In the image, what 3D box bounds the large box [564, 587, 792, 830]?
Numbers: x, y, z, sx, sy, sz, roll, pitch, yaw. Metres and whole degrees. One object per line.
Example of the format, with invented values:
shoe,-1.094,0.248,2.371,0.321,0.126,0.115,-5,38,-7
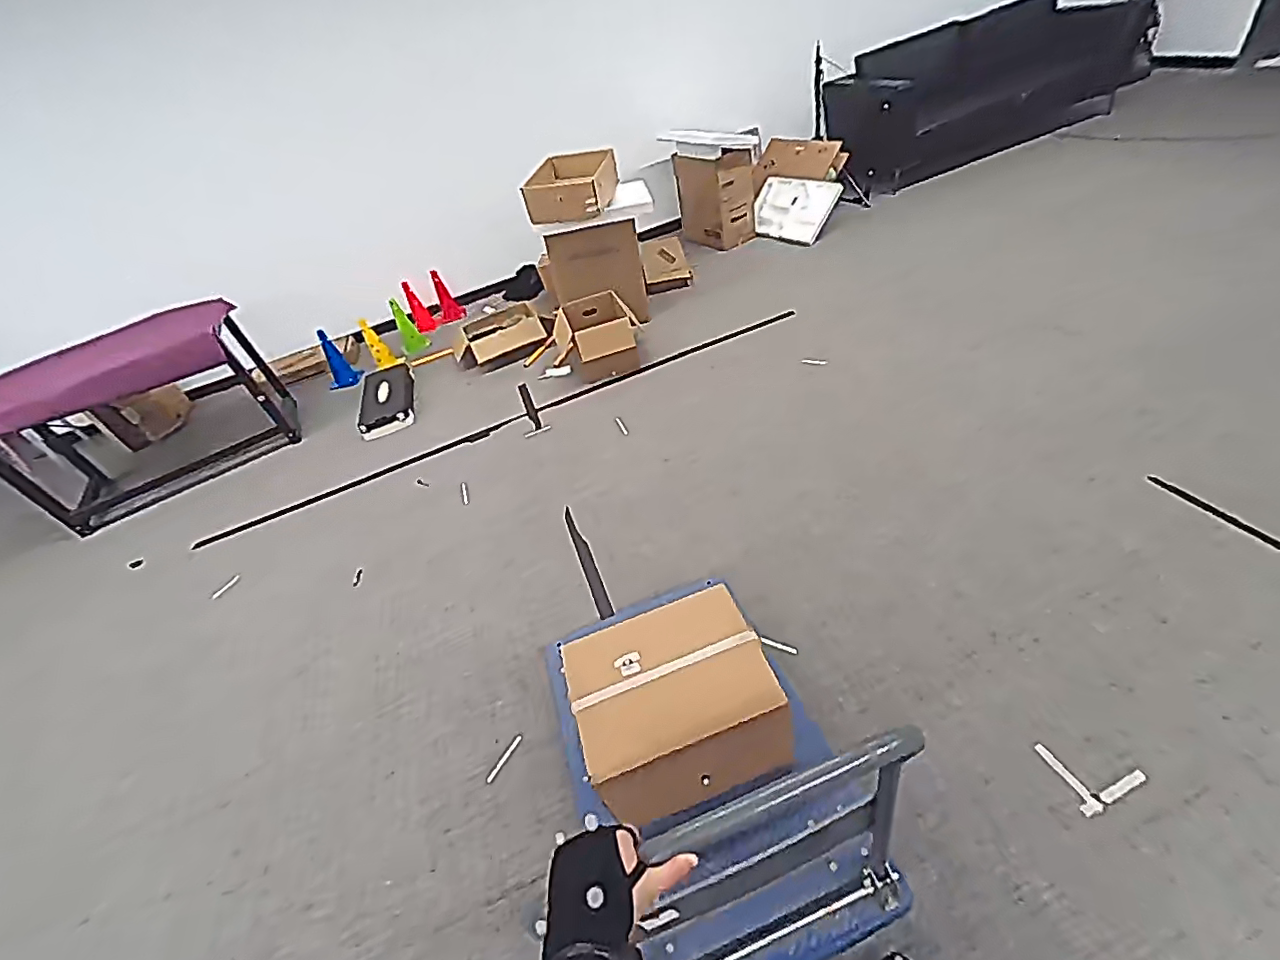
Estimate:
large box,0.088,0.516,1.234,0.408,0.320,0.320,-21,40,-4
